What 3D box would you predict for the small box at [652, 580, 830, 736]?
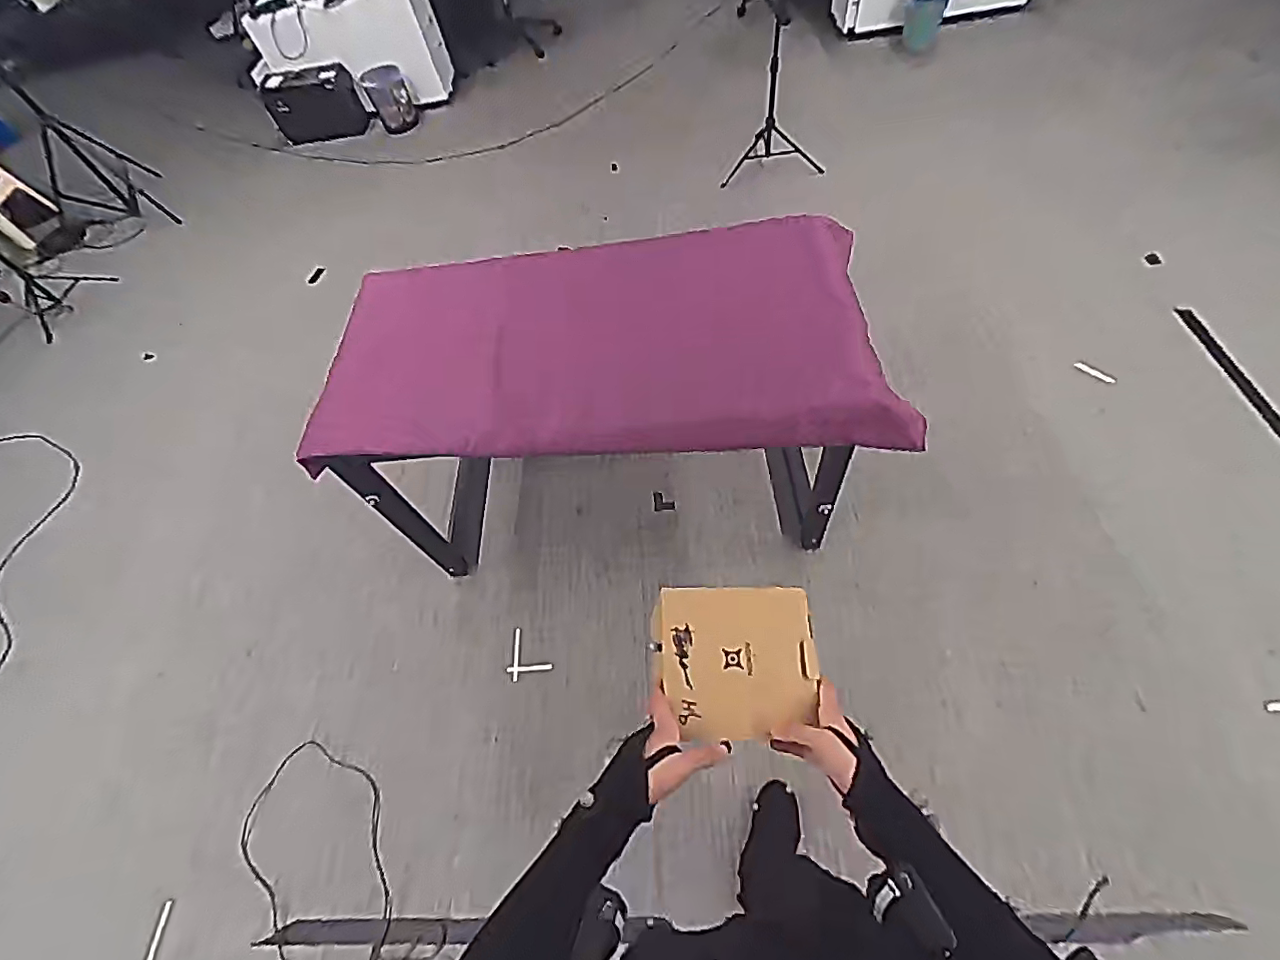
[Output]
[{"bbox_3d":[0.110,0.226,0.670,0.179,0.176,0.168,1,65,-3],"label":"small box"}]
